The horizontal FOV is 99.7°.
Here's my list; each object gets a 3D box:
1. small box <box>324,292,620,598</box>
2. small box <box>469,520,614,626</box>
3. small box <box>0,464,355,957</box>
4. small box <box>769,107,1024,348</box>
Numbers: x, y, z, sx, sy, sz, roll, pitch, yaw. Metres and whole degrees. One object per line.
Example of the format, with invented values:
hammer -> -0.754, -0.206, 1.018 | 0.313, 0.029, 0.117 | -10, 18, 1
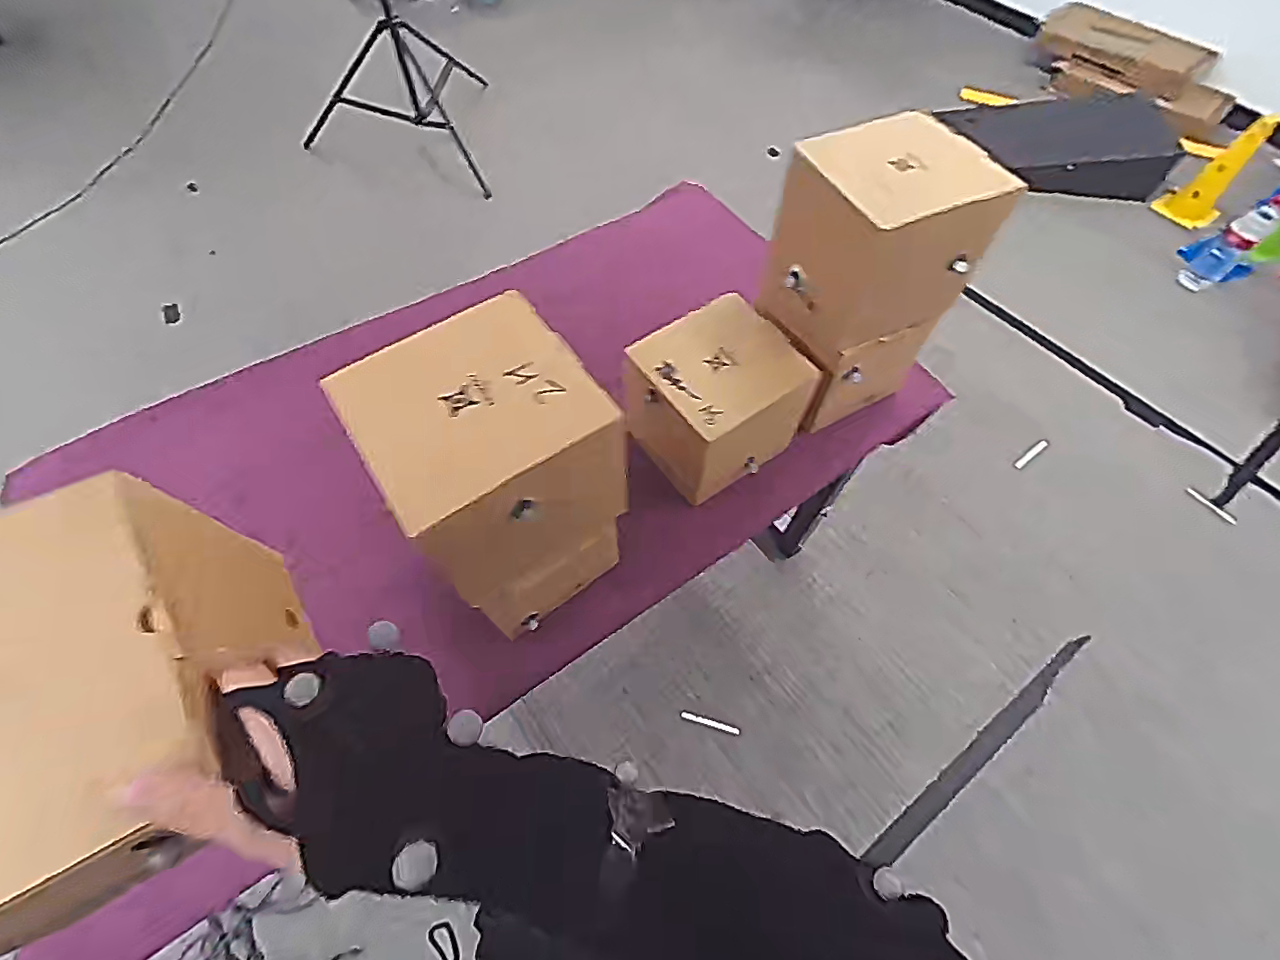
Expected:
small box -> -0.128, -0.023, 0.478 | 0.179, 0.176, 0.168 | -32, 67, -17
small box -> -0.142, 0.049, 0.626 | 0.168, 0.176, 0.179 | -35, 66, -18
small box -> -0.287, 0.124, 0.281 | 0.179, 0.176, 0.168 | -27, 75, -18
small box -> 0.275, -0.286, 0.627 | 0.179, 0.176, 0.168 | -22, 62, -10
